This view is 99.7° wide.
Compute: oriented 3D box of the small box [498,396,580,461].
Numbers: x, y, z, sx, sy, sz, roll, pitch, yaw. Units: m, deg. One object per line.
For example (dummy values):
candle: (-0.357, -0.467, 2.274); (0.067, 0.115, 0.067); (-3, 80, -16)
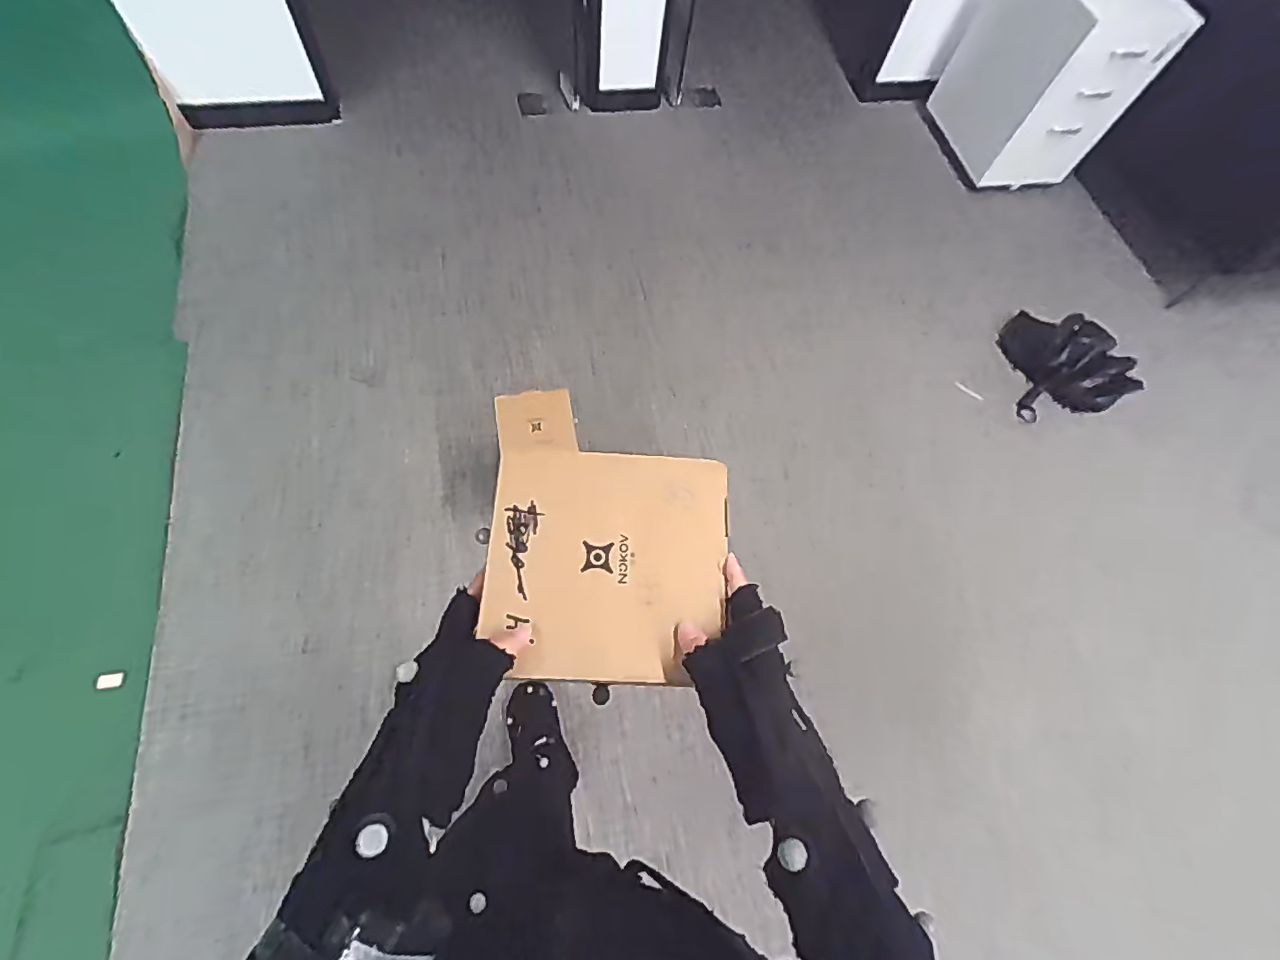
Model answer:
small box: (-0.227, -0.070, 1.250); (0.168, 0.176, 0.179); (-9, 67, -9)

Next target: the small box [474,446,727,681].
small box: (-0.030, 0.084, 0.473); (0.179, 0.176, 0.168); (4, 68, -4)
